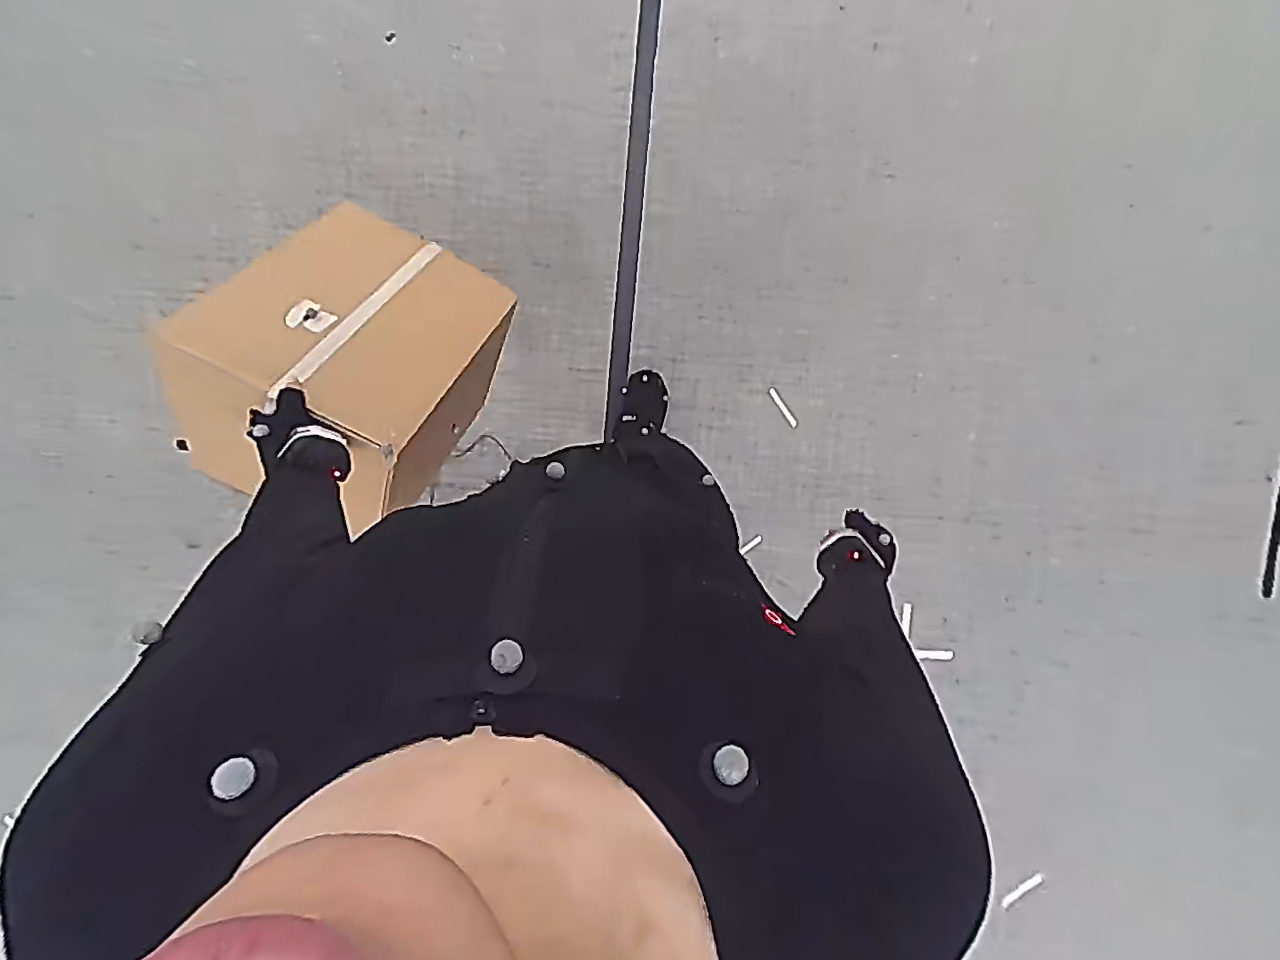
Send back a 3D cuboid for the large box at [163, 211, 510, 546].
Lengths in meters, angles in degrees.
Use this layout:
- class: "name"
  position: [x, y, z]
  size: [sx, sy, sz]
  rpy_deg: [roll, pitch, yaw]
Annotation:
- class: "large box"
  position: [-0.471, -0.168, 0.927]
  size: [0.320, 0.408, 0.320]
  rpy_deg: [27, 140, -9]
